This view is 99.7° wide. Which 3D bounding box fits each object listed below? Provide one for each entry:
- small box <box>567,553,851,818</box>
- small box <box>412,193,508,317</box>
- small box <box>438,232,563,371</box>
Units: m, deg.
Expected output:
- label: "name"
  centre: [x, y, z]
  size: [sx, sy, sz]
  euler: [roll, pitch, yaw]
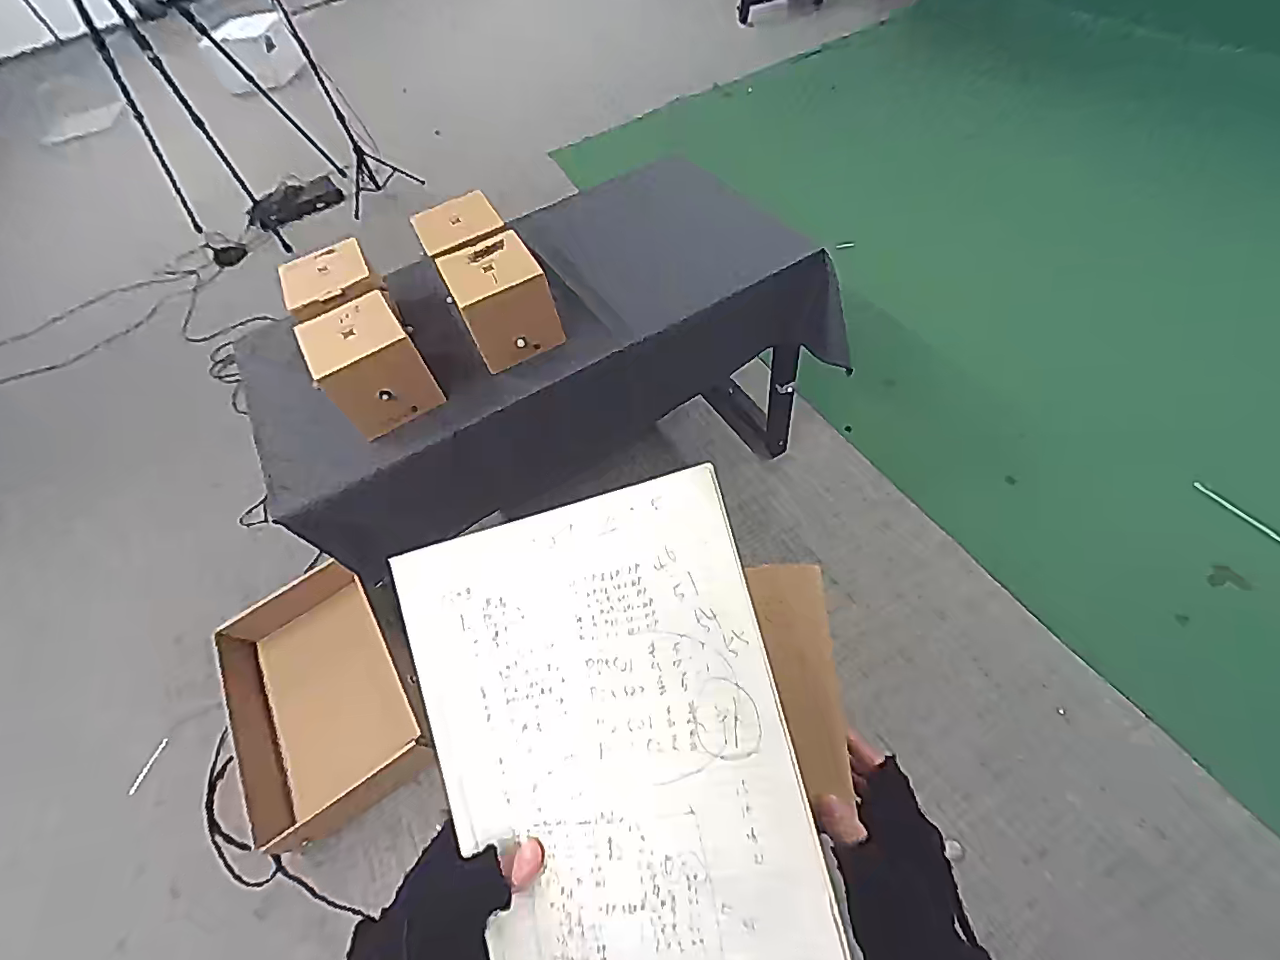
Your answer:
- label: "small box"
  centre: [0.047, 0.161, 0.433]
  size: [0.179, 0.176, 0.168]
  euler: [-3, 66, 5]
- label: "small box"
  centre: [-0.370, -0.488, 1.186]
  size: [0.168, 0.176, 0.179]
  euler: [-27, 56, -8]
- label: "small box"
  centre: [-0.271, -0.350, 1.072]
  size: [0.168, 0.176, 0.179]
  euler: [-27, 56, -9]
